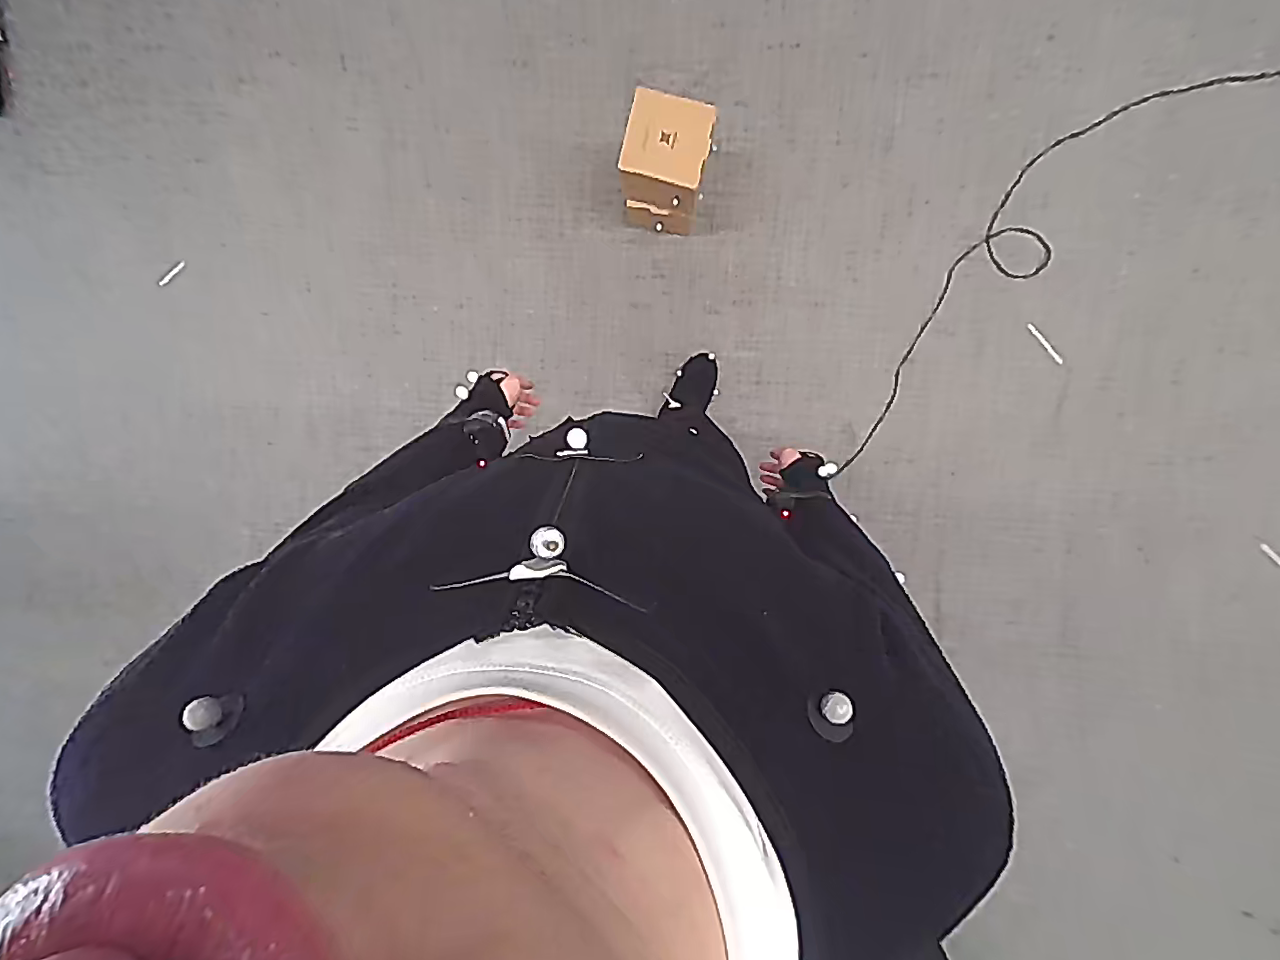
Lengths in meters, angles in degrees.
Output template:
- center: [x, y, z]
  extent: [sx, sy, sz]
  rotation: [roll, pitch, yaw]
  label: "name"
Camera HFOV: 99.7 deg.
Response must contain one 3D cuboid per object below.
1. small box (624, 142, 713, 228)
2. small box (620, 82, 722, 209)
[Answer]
- center: [0.075, -0.758, 1.349]
  extent: [0.179, 0.176, 0.168]
  rotation: [-18, 96, 8]
  label: "small box"
- center: [0.068, -0.727, 1.197]
  extent: [0.179, 0.176, 0.168]
  rotation: [17, 98, 2]
  label: "small box"
